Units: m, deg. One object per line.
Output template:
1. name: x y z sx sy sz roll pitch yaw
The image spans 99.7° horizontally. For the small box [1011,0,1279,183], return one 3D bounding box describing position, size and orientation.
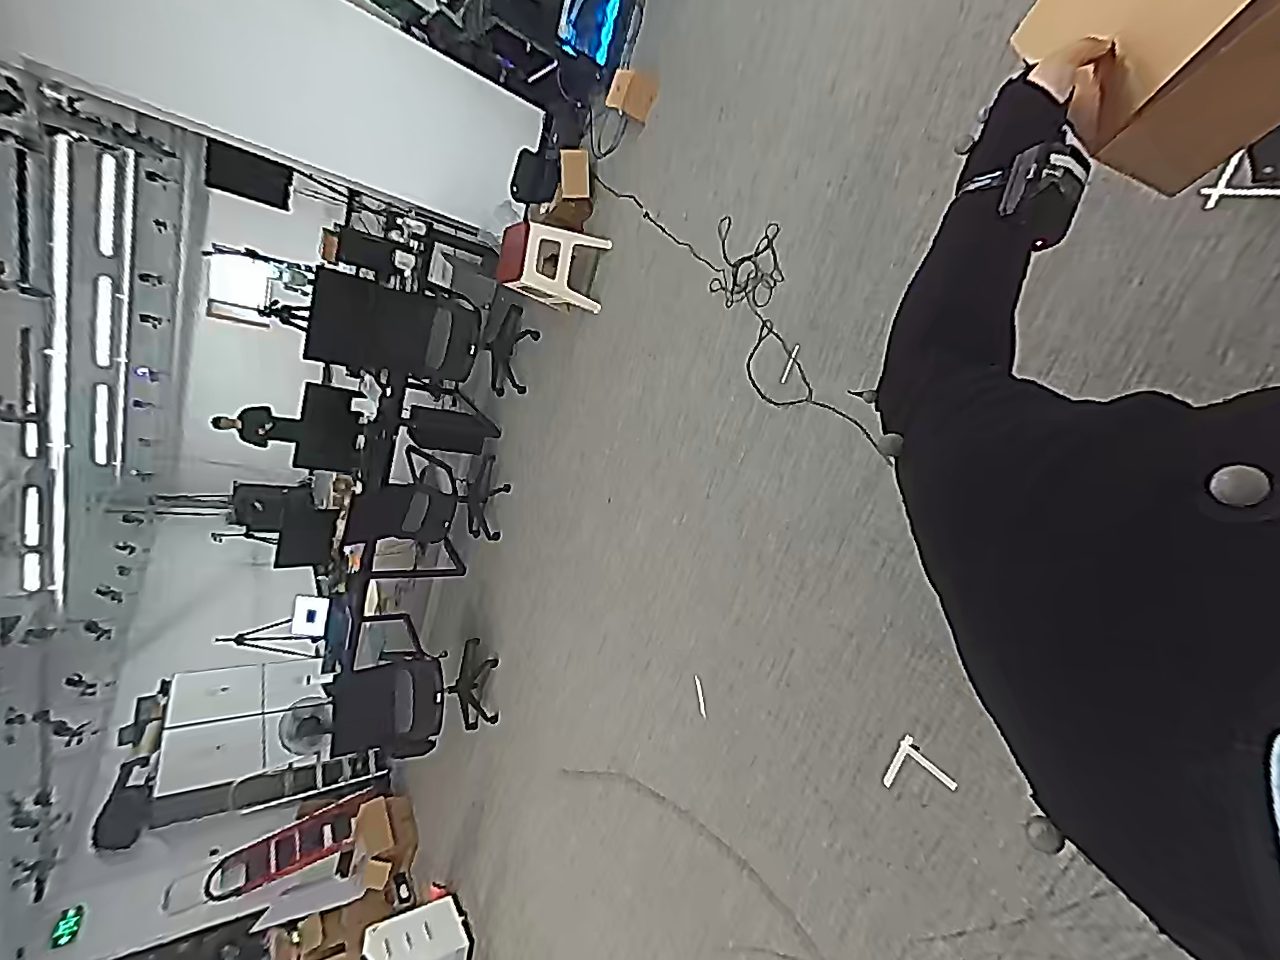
1. small box: 0.482 -0.399 0.465 0.179 0.176 0.168 -44 52 55
